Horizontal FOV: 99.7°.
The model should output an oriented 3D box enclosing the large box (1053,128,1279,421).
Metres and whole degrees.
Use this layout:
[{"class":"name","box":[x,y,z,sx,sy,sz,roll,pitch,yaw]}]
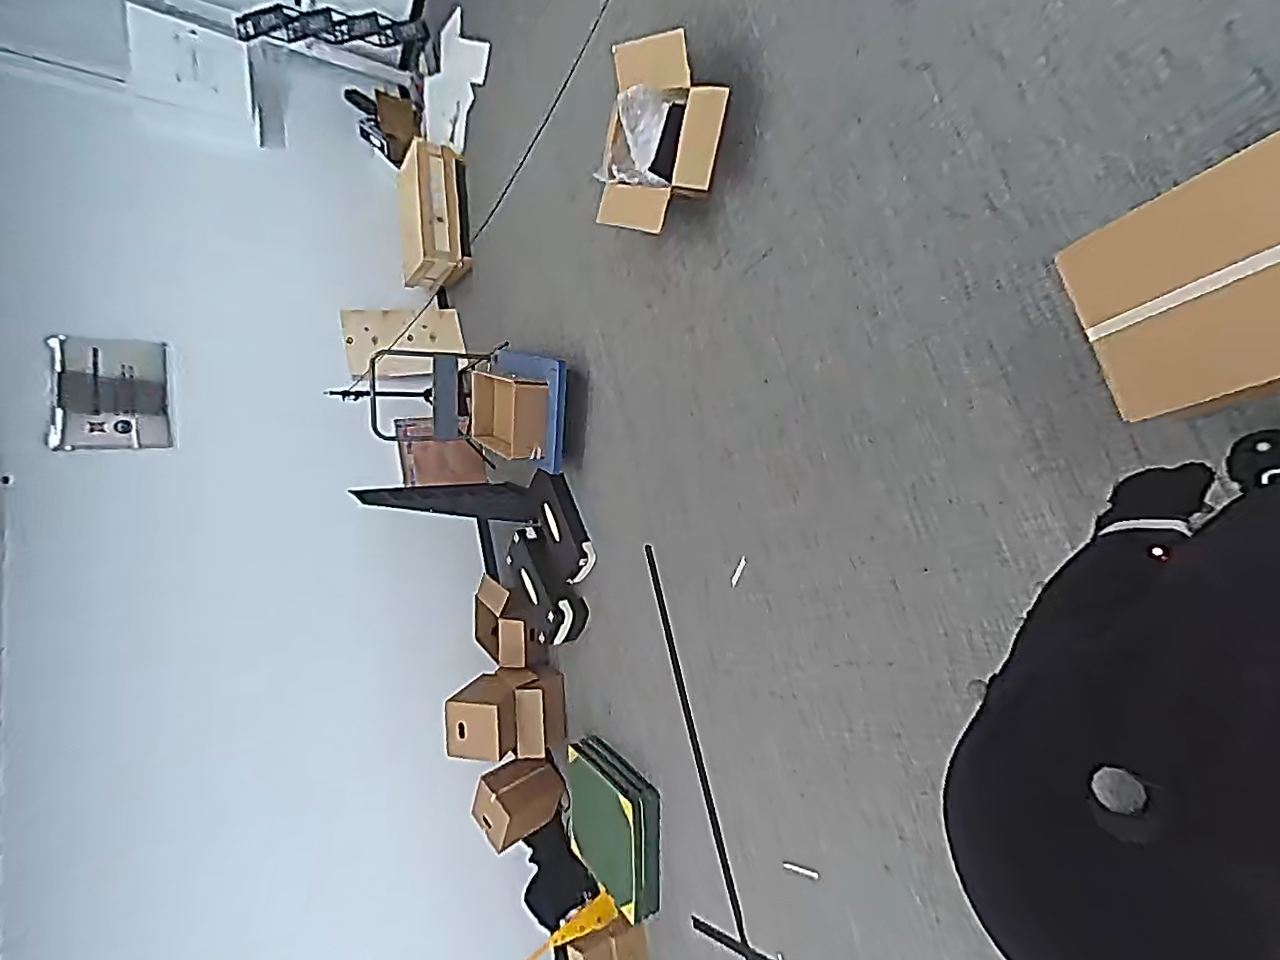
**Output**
[{"class":"large box","box":[0.964,-0.307,0.823,0.408,0.320,0.320,-29,71,52]}]
